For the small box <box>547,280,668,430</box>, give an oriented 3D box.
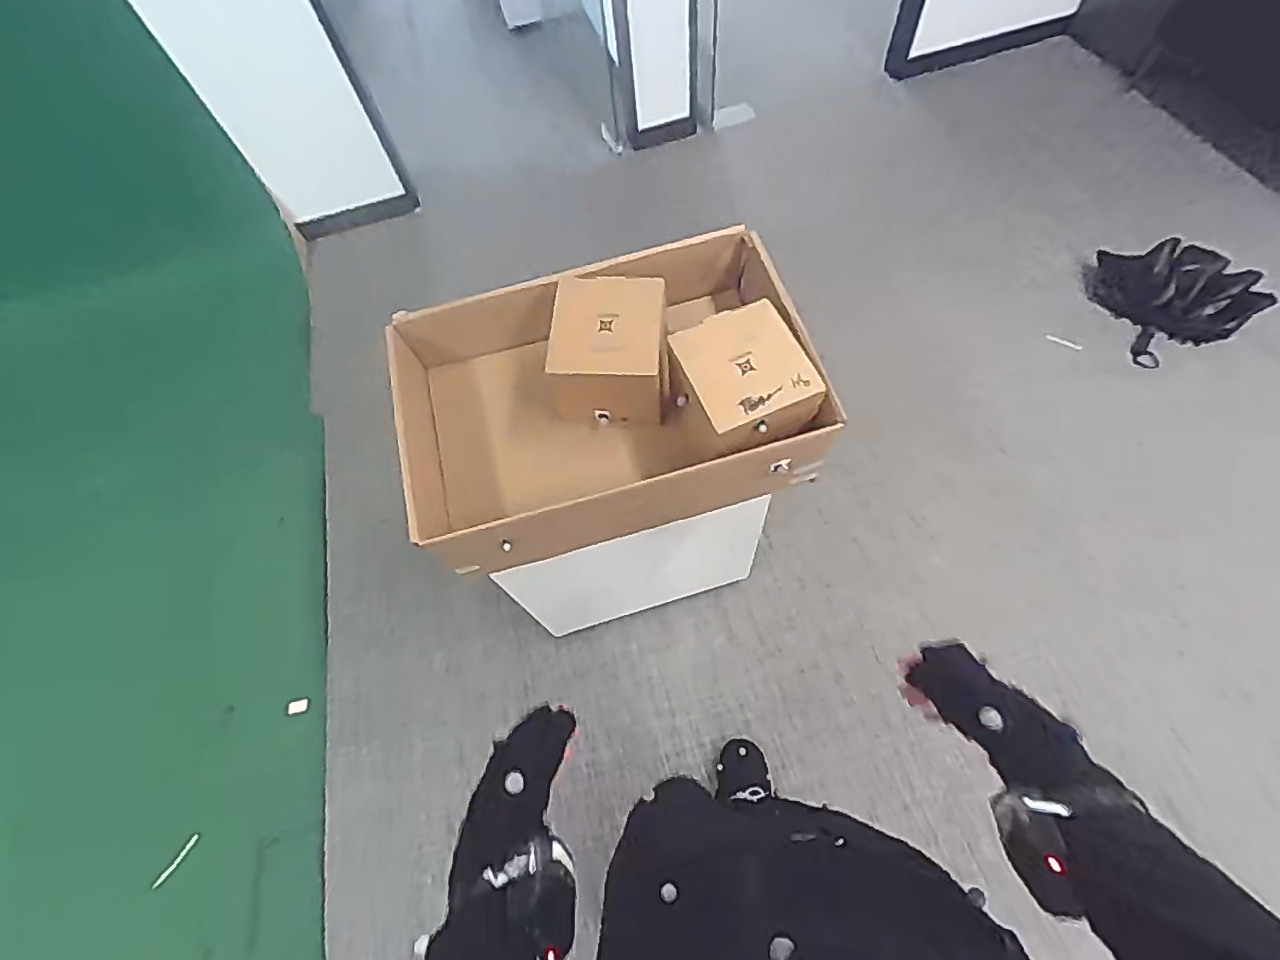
[{"bbox_3d":[-0.042,-0.198,0.878,0.168,0.176,0.179,2,70,6],"label":"small box"}]
